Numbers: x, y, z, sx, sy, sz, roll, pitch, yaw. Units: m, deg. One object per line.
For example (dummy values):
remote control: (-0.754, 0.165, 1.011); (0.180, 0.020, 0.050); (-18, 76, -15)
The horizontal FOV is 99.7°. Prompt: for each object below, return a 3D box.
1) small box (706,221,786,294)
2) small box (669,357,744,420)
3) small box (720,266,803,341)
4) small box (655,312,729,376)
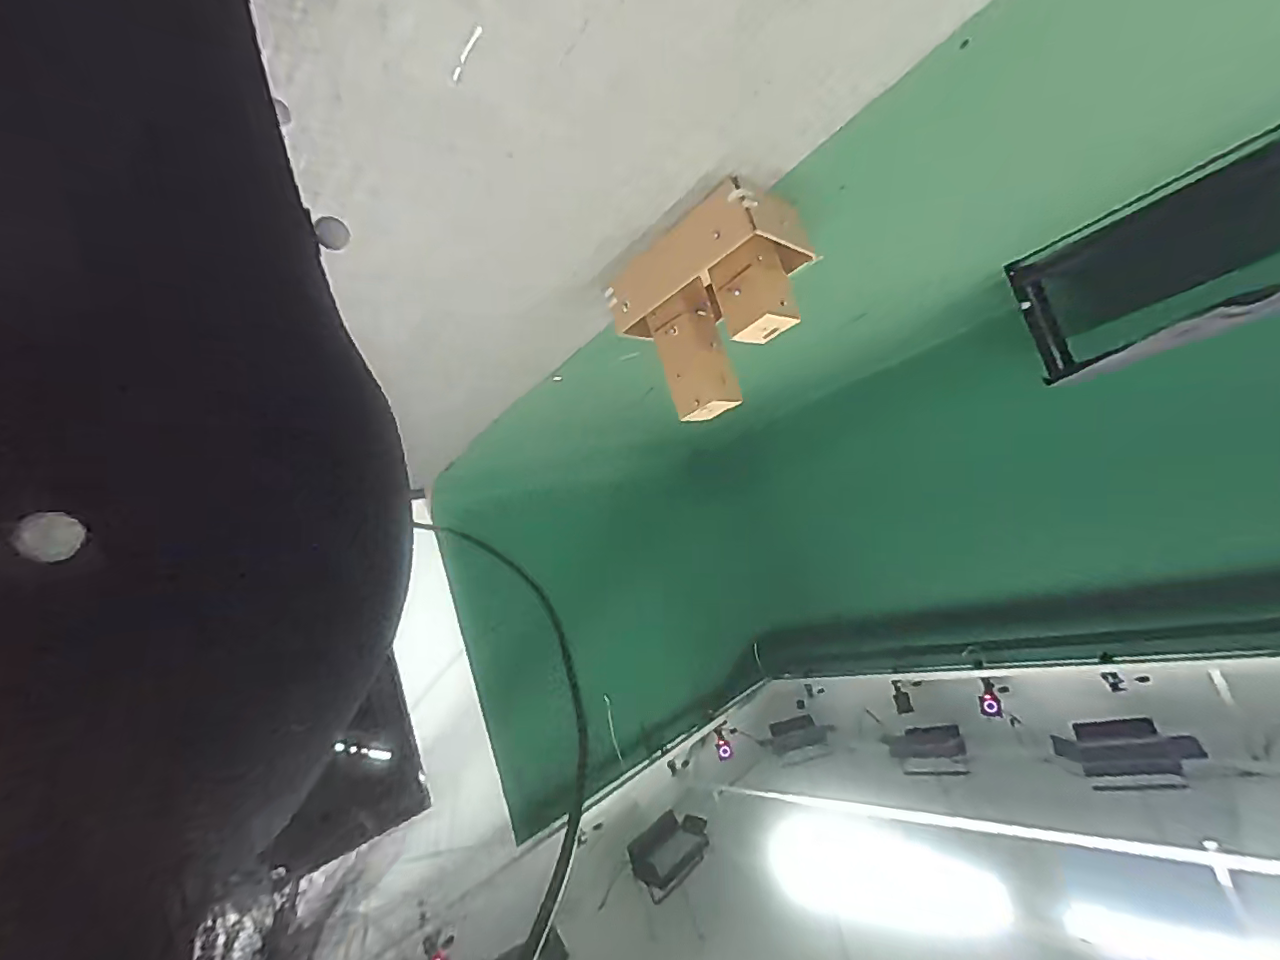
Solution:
small box: (0.345, -0.717, 1.766); (0.179, 0.176, 0.168); (-8, 170, -41)
small box: (0.230, -0.319, 1.888); (0.179, 0.176, 0.168); (-9, 168, -44)
small box: (0.386, -0.561, 1.730); (0.179, 0.176, 0.168); (-8, 169, -39)
small box: (0.184, -0.475, 1.913); (0.179, 0.176, 0.168); (-5, 165, -47)
